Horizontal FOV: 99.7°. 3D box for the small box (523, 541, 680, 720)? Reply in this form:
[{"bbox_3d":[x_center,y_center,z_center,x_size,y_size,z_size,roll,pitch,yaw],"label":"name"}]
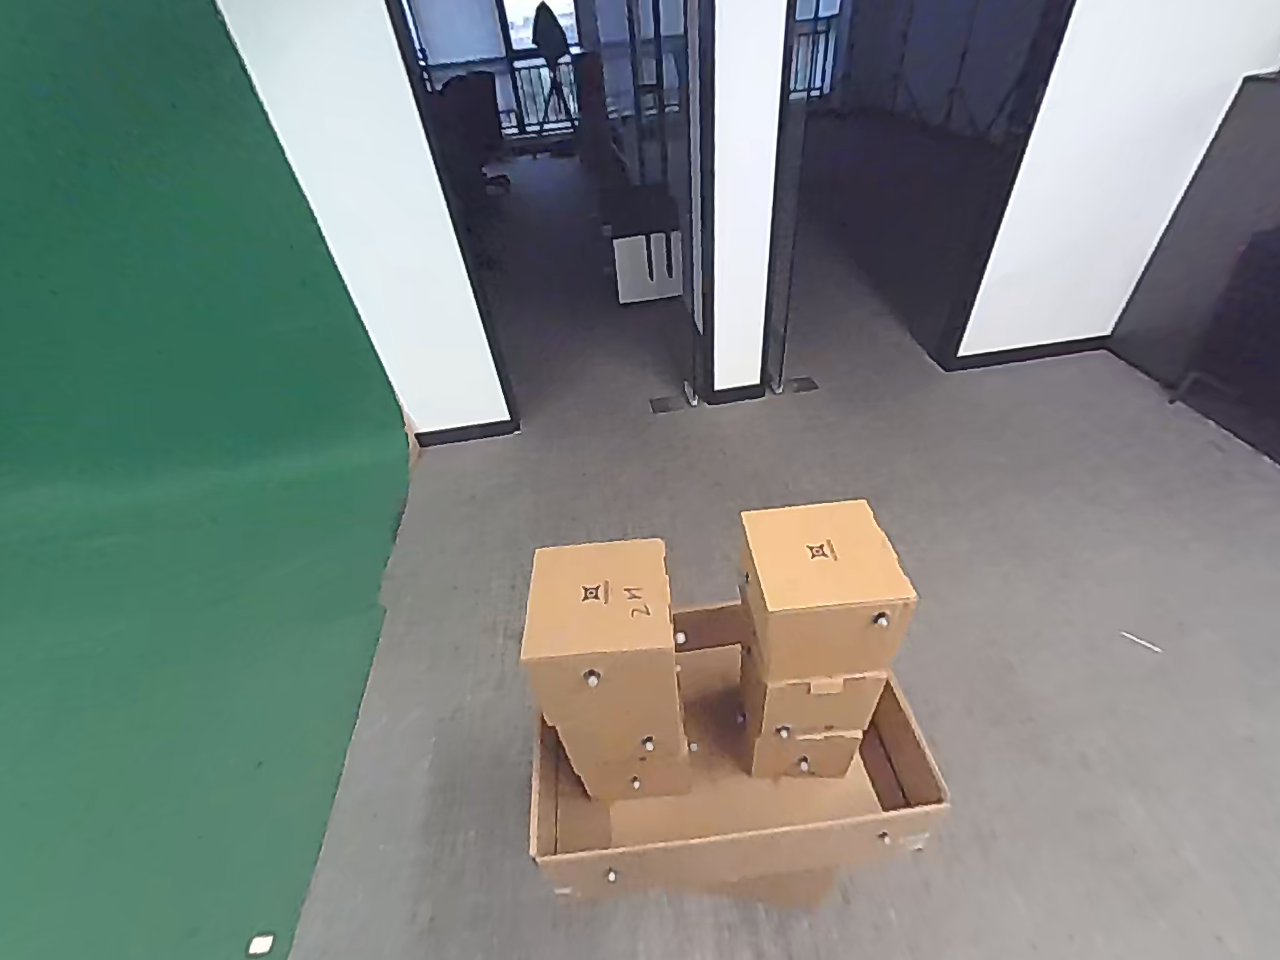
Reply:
[{"bbox_3d":[-0.042,0.202,0.715,0.179,0.176,0.168,-4,42,1],"label":"small box"}]

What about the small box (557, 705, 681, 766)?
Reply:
[{"bbox_3d":[-0.029,0.319,0.831,0.168,0.176,0.179,-6,41,-1],"label":"small box"}]

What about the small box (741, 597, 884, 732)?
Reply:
[{"bbox_3d":[0.255,0.276,0.844,0.168,0.176,0.179,-5,41,1],"label":"small box"}]

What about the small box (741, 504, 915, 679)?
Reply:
[{"bbox_3d":[0.237,0.154,0.737,0.179,0.176,0.168,-5,42,0],"label":"small box"}]
